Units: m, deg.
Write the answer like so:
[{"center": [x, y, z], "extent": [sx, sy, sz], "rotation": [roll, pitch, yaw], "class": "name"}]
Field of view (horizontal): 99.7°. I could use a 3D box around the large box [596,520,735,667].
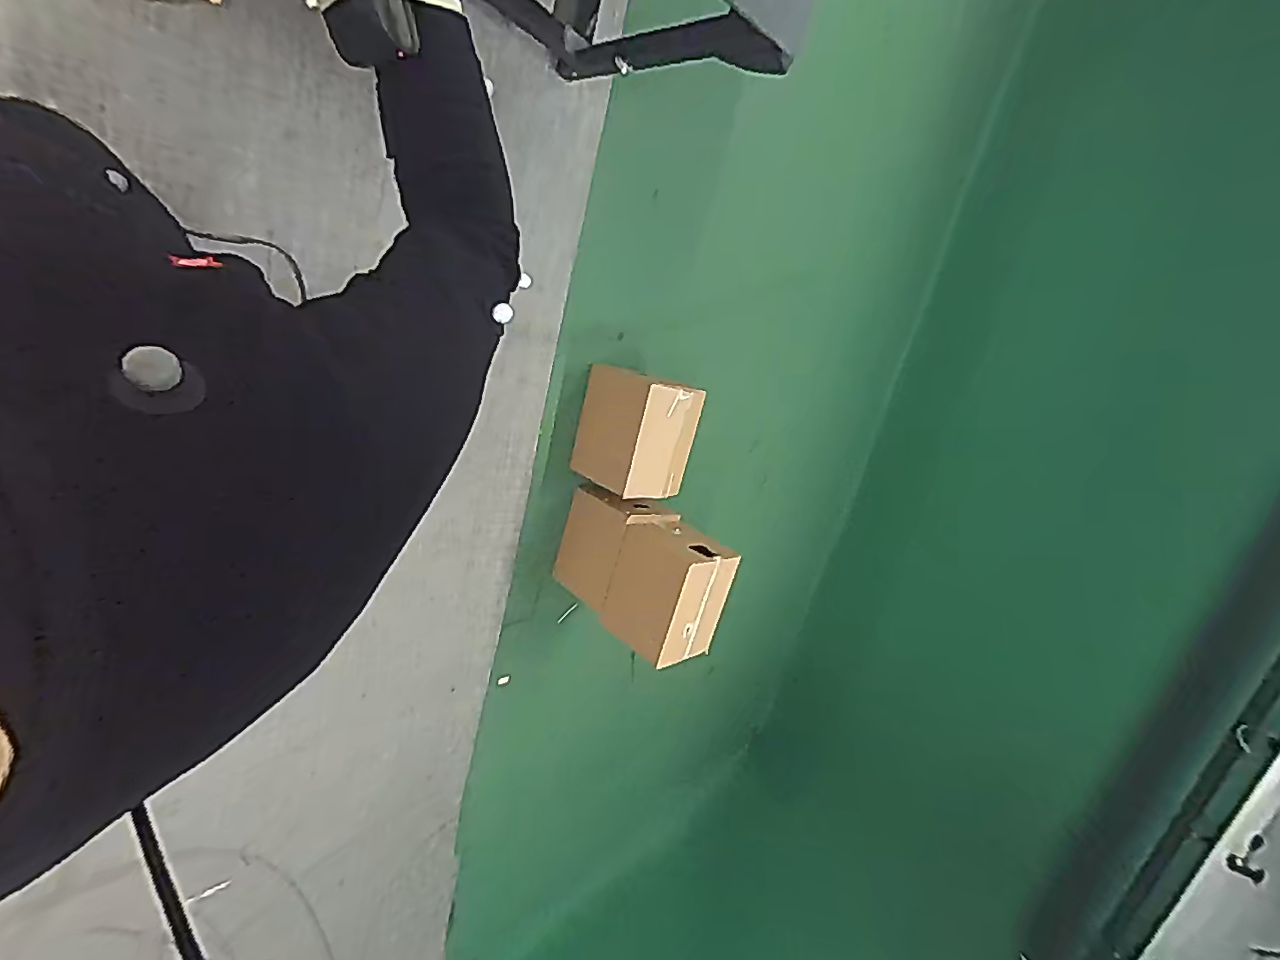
[{"center": [0.087, 0.394, 1.980], "extent": [0.320, 0.320, 0.408], "rotation": [2, 111, -47], "class": "large box"}]
